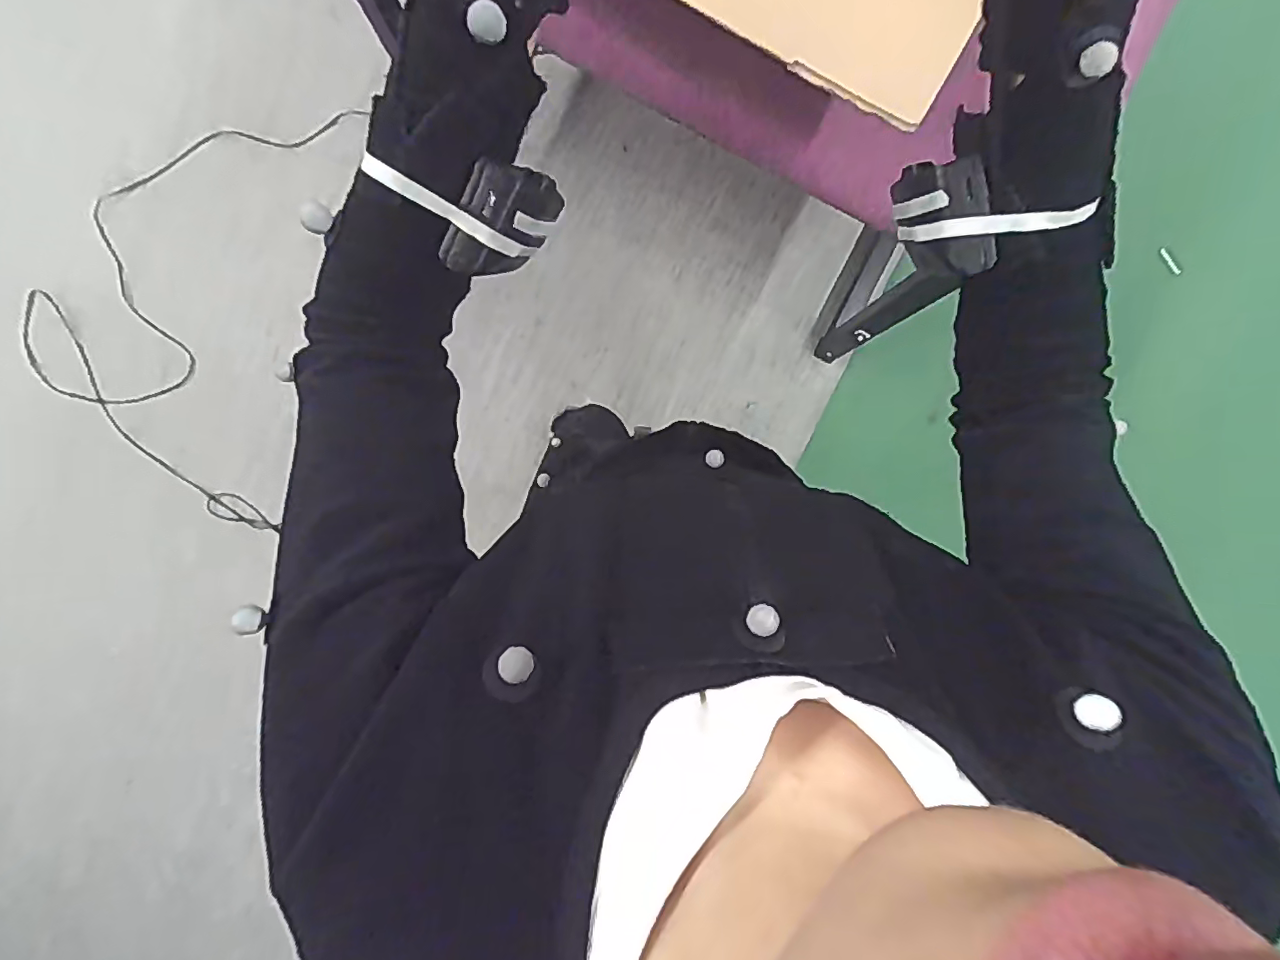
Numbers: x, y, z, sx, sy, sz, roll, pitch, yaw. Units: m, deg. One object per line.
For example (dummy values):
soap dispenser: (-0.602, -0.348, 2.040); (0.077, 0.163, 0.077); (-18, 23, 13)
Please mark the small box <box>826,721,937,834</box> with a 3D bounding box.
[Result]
small box: (0.620, 0.763, 1.409); (0.179, 0.176, 0.168); (26, 90, -2)
